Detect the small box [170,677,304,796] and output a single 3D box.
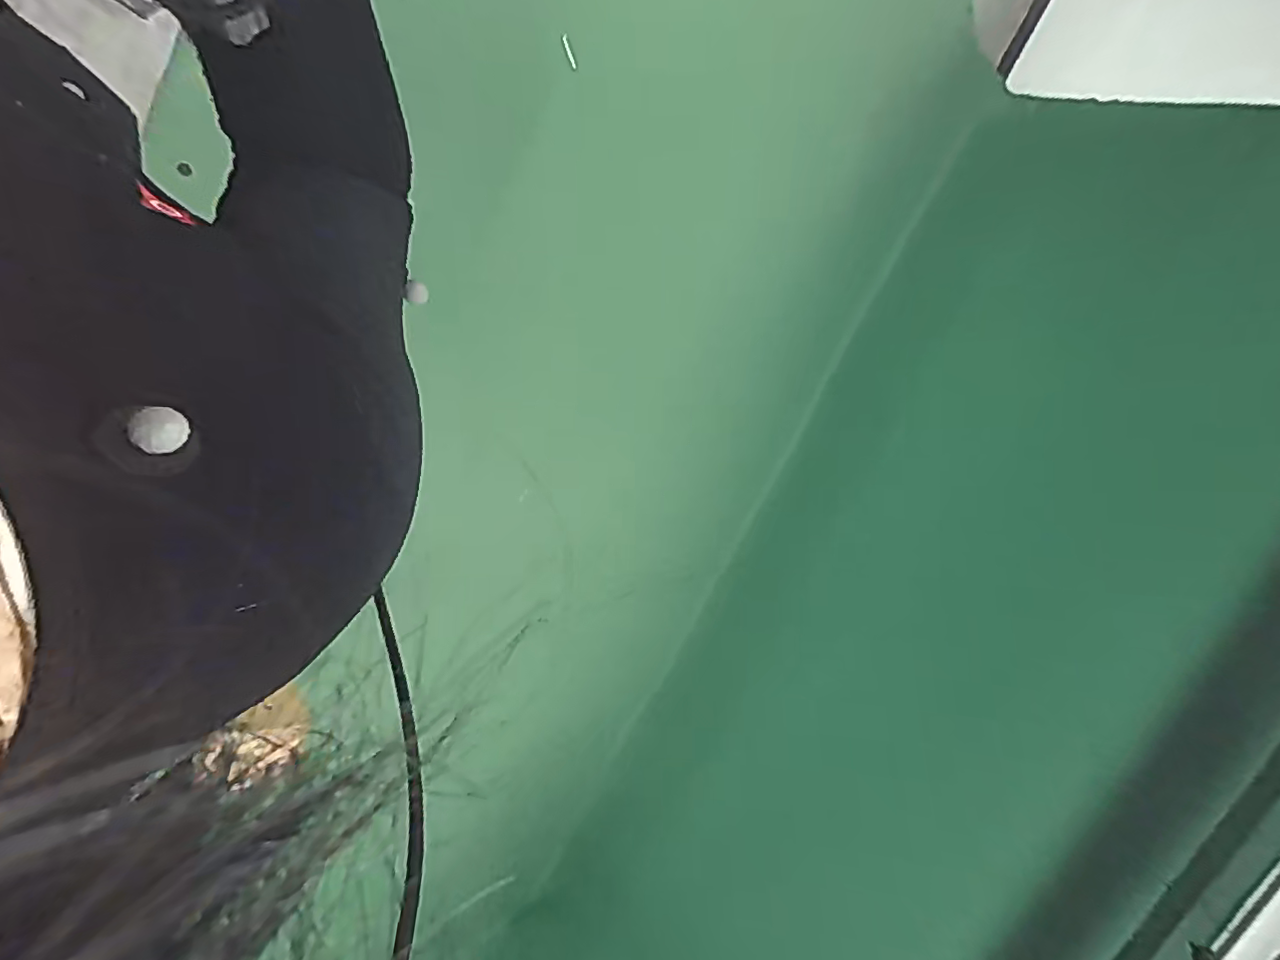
[{"bbox_3d":[-0.912,0.565,1.222,0.179,0.176,0.168,24,99,-55],"label":"small box"}]
